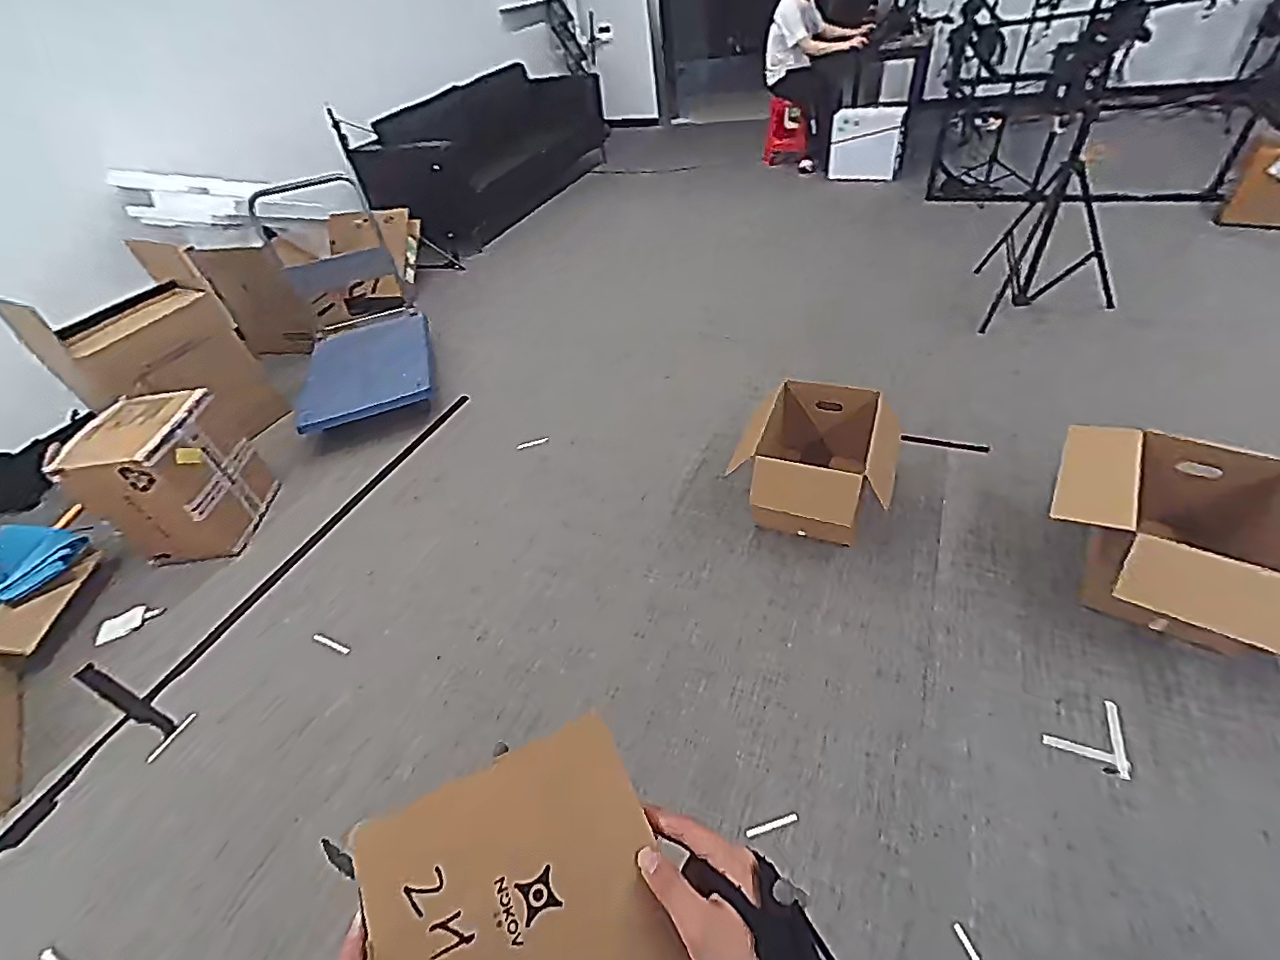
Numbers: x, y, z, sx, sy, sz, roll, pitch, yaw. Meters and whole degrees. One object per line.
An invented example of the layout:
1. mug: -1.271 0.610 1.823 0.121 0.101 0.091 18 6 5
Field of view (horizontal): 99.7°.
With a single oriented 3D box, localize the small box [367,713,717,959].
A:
1. small box: -0.073 0.300 0.397 0.179 0.176 0.168 -18 59 -19
